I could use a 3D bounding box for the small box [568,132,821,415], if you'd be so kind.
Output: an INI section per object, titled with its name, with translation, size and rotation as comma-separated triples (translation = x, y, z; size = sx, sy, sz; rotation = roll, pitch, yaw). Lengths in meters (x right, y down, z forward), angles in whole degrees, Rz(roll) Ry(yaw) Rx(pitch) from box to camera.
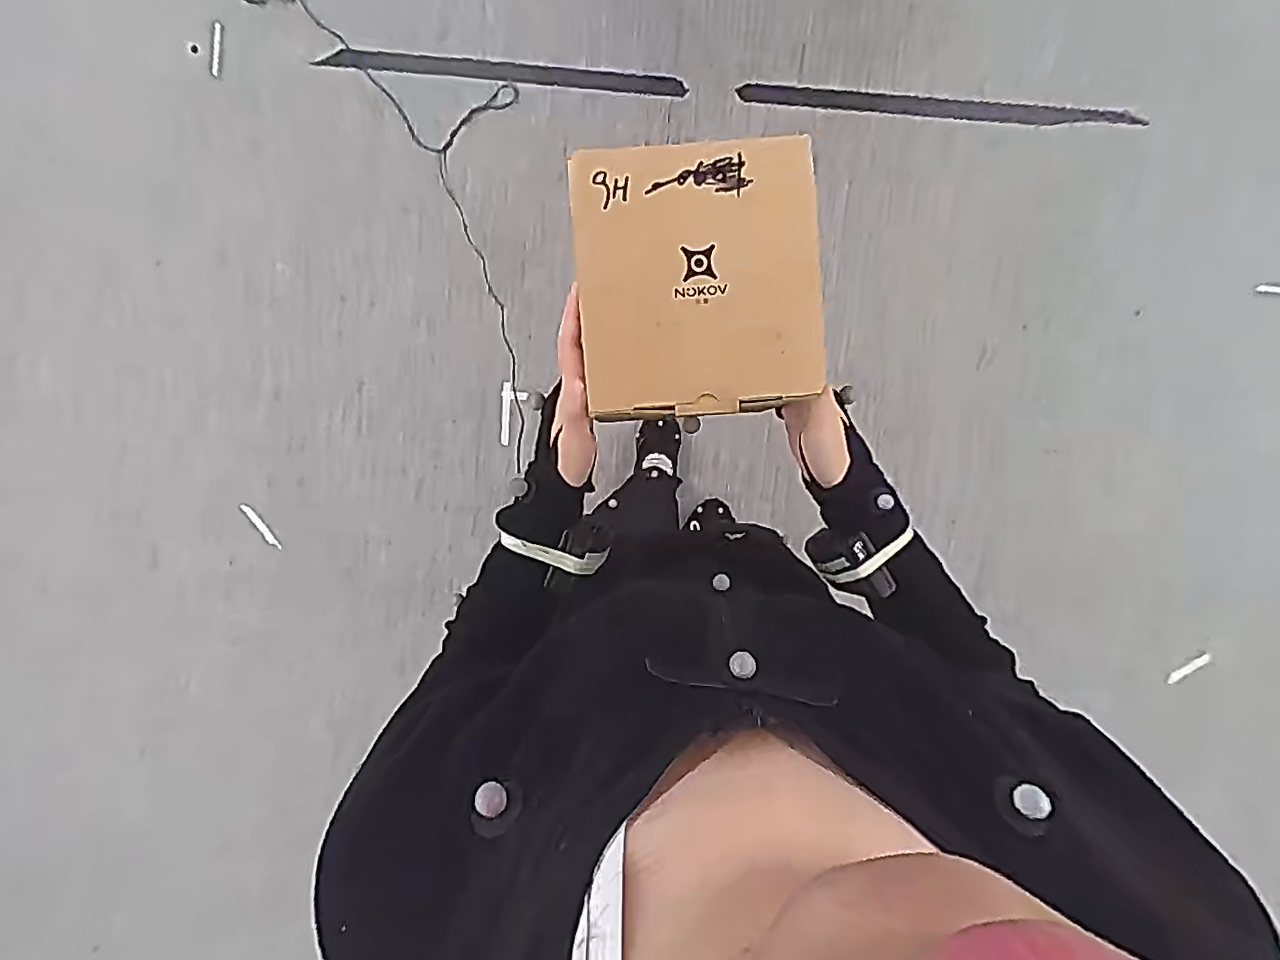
[small box]
translation = 0.038, -0.147, 0.445
size = 0.168, 0.176, 0.179
rotation = -5, 96, -1
